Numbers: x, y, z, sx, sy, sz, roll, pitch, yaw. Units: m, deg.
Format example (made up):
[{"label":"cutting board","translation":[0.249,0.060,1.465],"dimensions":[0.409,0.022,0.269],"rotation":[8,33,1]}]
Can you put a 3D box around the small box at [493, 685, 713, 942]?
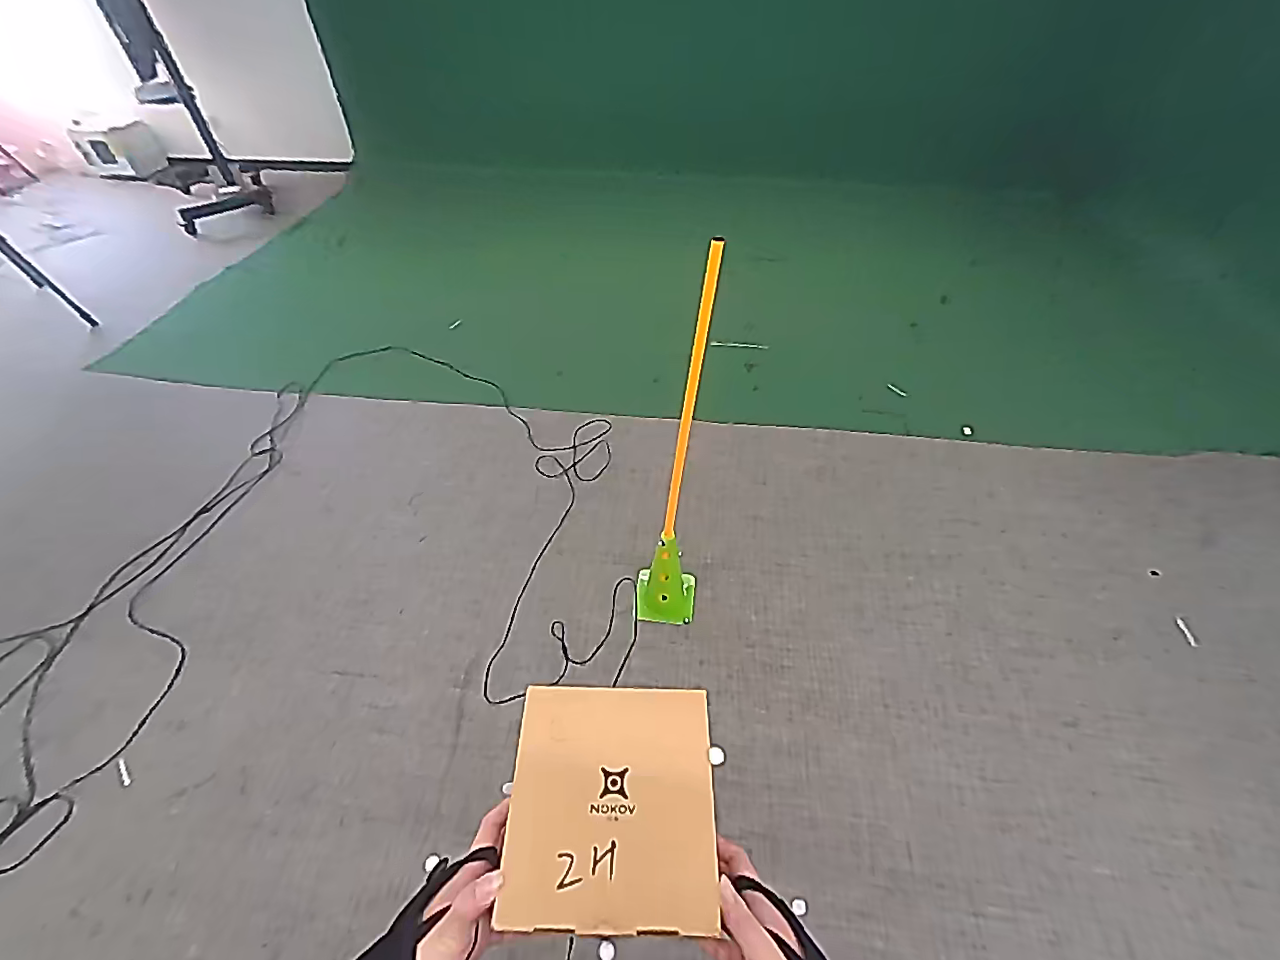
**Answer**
[{"label":"small box","translation":[-0.027,0.313,0.507],"dimensions":[0.168,0.176,0.179],"rotation":[2,49,0]}]

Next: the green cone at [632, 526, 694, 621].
[{"label":"green cone","translation":[0.080,0.273,1.744],"dimensions":[0.202,0.368,0.200],"rotation":[5,47,6]}]
